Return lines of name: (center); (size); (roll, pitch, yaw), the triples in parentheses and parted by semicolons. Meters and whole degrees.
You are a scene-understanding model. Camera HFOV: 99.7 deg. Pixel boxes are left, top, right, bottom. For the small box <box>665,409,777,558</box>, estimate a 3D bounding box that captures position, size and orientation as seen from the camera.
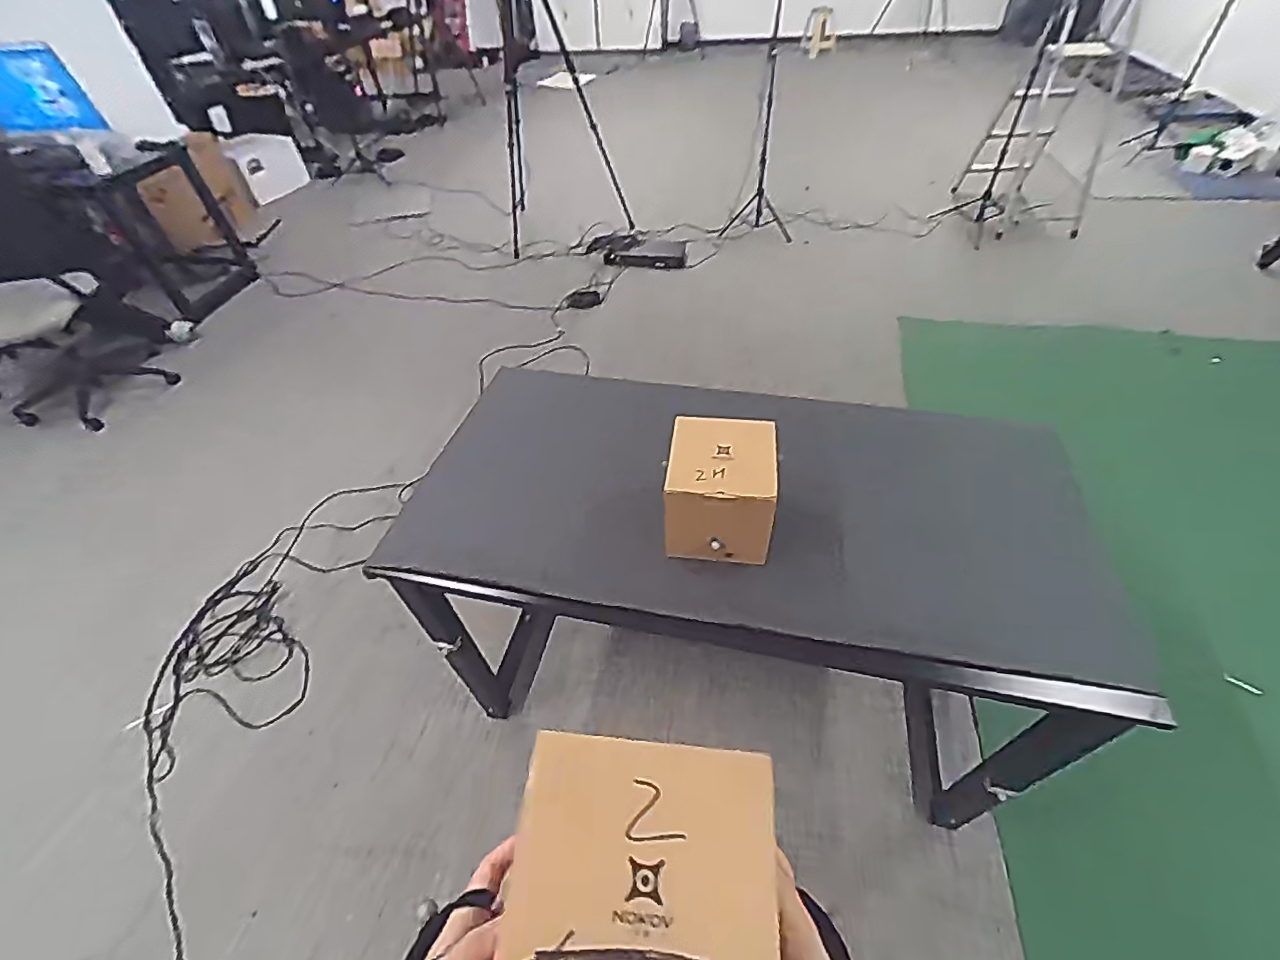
small box: (0.134, 0.005, 0.898); (0.168, 0.176, 0.179); (4, 46, 9)
